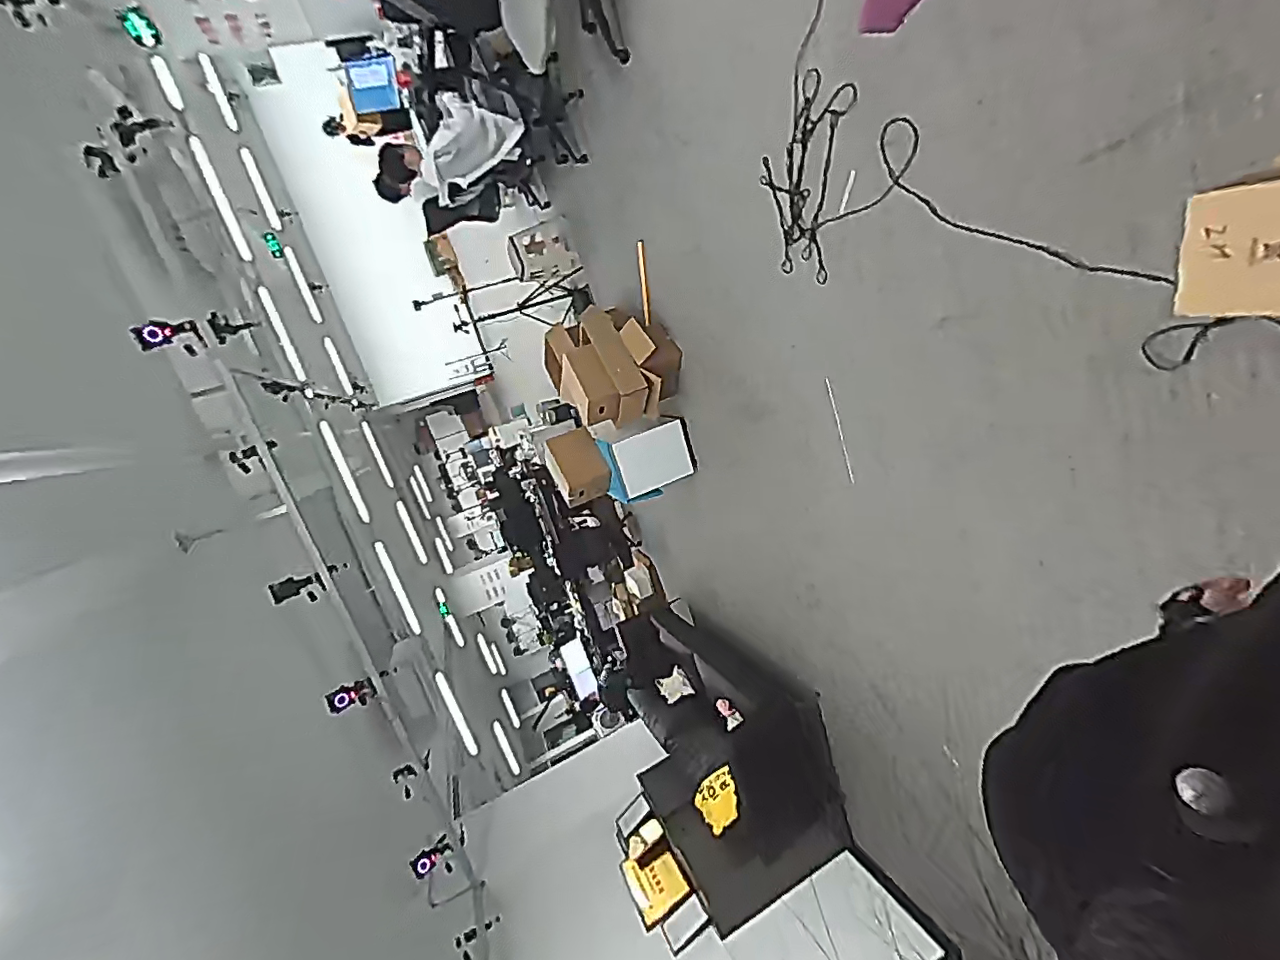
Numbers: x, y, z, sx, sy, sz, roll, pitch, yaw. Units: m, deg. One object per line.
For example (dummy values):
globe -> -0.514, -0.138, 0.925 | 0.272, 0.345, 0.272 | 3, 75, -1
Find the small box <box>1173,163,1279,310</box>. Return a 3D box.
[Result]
small box -> 0.868, -0.328, 0.710 | 0.179, 0.176, 0.168 | 34, 142, 63
